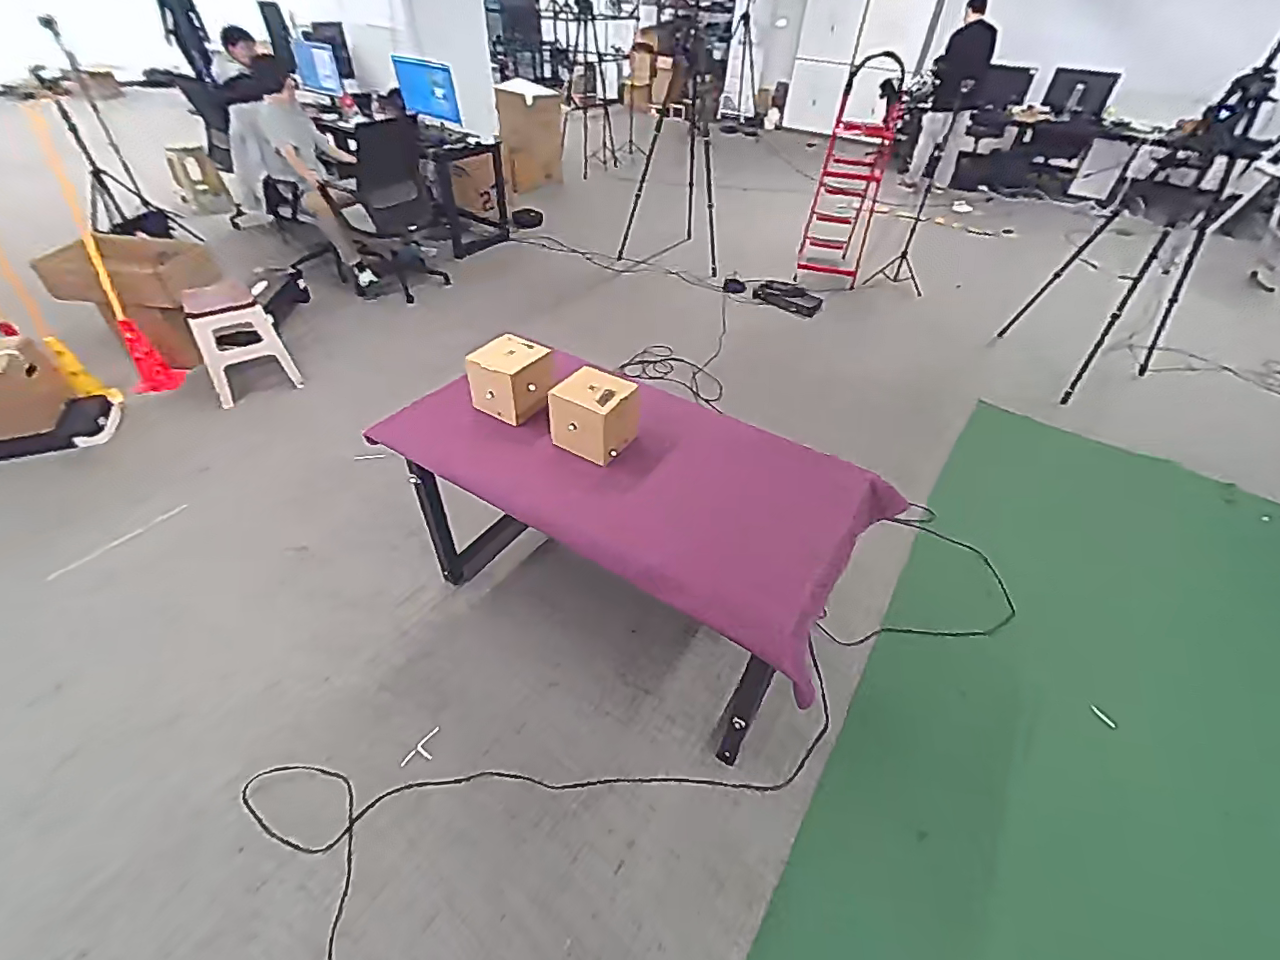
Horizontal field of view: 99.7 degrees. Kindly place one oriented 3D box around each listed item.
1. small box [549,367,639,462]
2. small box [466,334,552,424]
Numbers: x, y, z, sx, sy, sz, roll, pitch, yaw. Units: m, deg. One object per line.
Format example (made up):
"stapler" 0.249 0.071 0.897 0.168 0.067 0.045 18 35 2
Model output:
"small box" -0.118 -0.170 1.435 0.179 0.176 0.168 24 46 22
"small box" -0.363 -0.286 1.545 0.168 0.176 0.179 25 47 21
